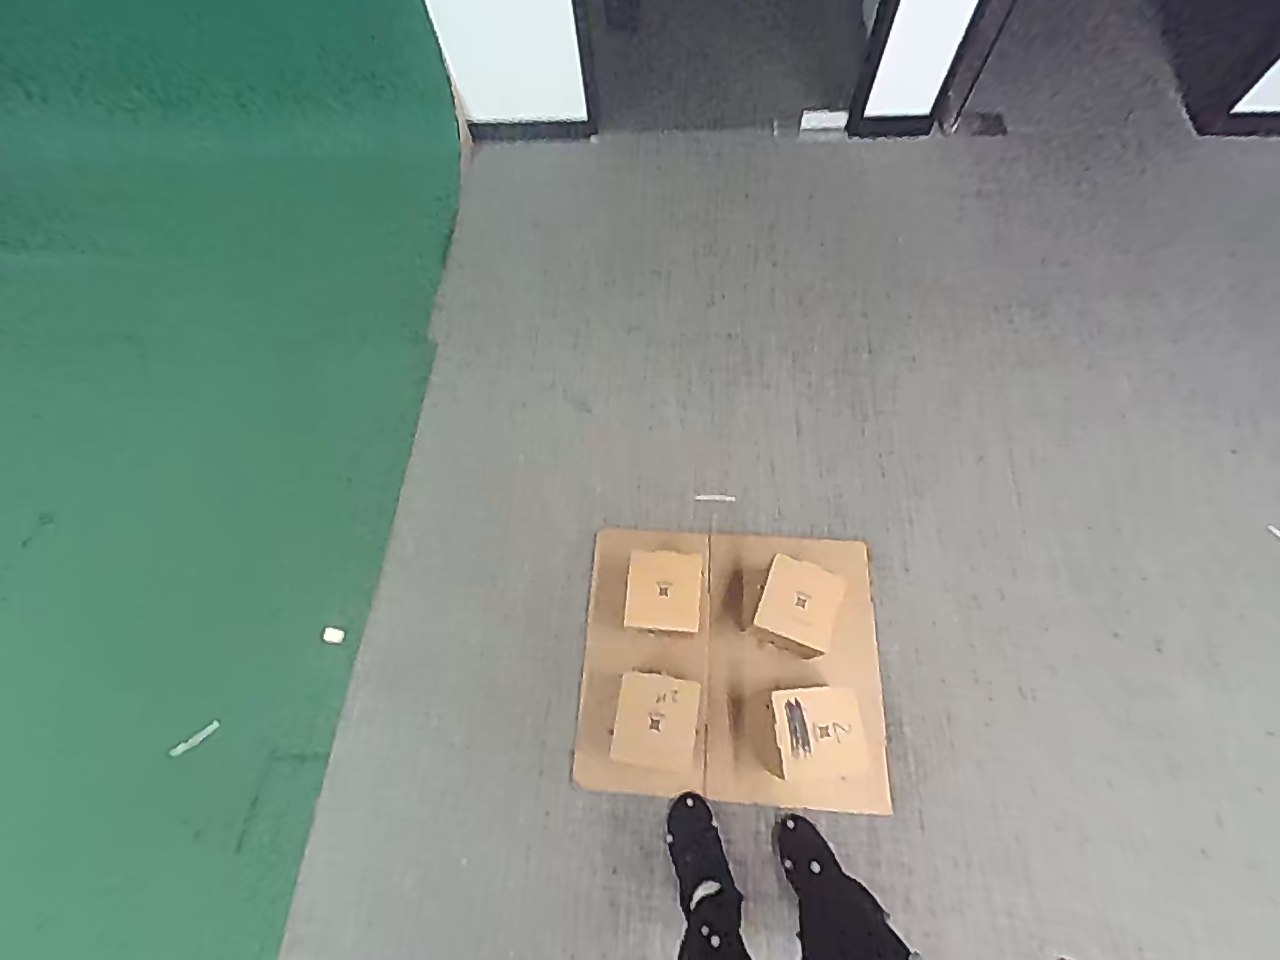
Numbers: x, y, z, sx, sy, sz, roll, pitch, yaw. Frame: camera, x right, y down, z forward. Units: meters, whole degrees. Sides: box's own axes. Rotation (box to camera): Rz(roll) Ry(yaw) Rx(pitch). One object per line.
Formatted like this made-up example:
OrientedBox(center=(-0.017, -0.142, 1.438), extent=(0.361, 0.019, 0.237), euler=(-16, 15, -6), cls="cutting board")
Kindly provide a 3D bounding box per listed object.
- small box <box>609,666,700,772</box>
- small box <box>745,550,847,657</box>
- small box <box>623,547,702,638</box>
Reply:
OrientedBox(center=(0.035, 0.514, 1.171), extent=(0.168, 0.176, 0.179), euler=(8, 67, 6), cls="small box")
OrientedBox(center=(0.352, 0.291, 1.248), extent=(0.168, 0.176, 0.179), euler=(20, 69, 11), cls="small box")
OrientedBox(center=(0.056, 0.271, 1.275), extent=(0.168, 0.176, 0.179), euler=(4, 67, 4), cls="small box")
